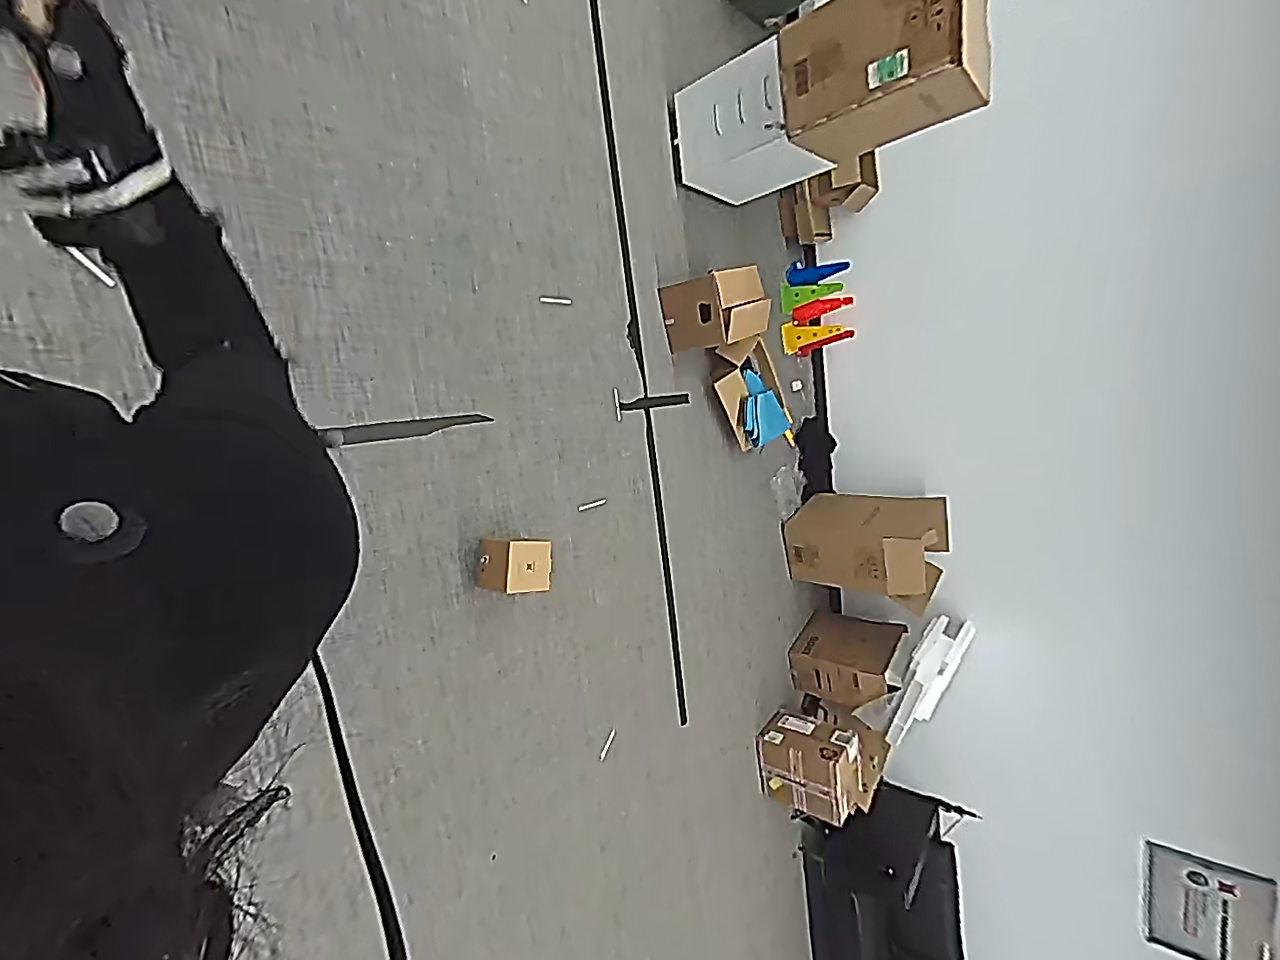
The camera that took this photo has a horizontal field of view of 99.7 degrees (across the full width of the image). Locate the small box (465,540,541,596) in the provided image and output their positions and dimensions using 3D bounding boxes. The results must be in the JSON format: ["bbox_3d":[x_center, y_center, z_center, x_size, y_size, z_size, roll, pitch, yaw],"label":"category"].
[{"bbox_3d":[-0.453,0.286,1.788,0.179,0.176,0.168,8,83,-50],"label":"small box"}]
